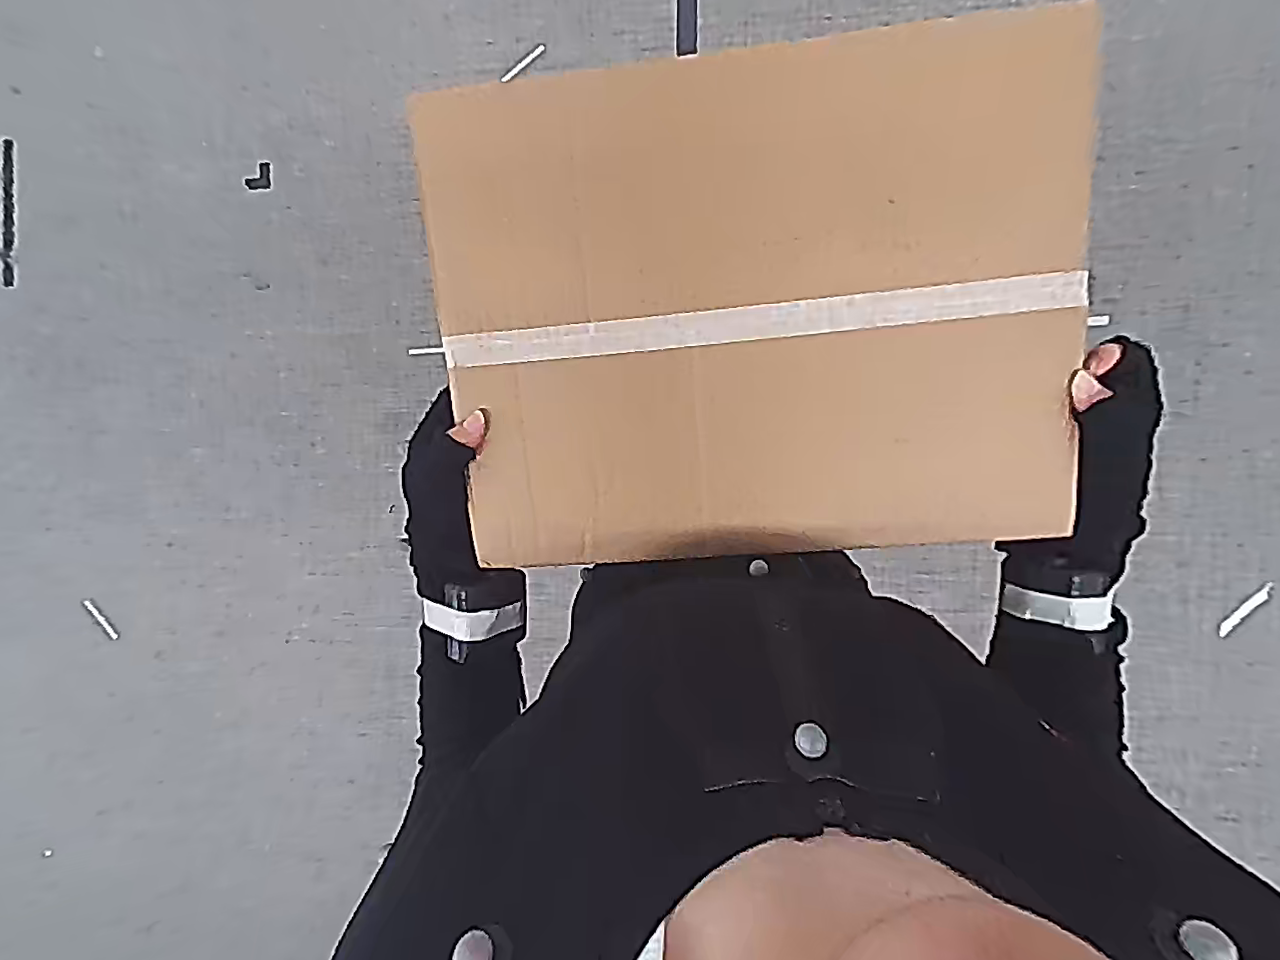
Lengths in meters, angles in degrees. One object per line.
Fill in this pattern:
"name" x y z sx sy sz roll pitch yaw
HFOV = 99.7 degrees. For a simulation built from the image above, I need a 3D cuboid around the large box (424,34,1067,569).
"large box" 0.081 -0.126 0.507 0.408 0.320 0.320 -4 100 5
